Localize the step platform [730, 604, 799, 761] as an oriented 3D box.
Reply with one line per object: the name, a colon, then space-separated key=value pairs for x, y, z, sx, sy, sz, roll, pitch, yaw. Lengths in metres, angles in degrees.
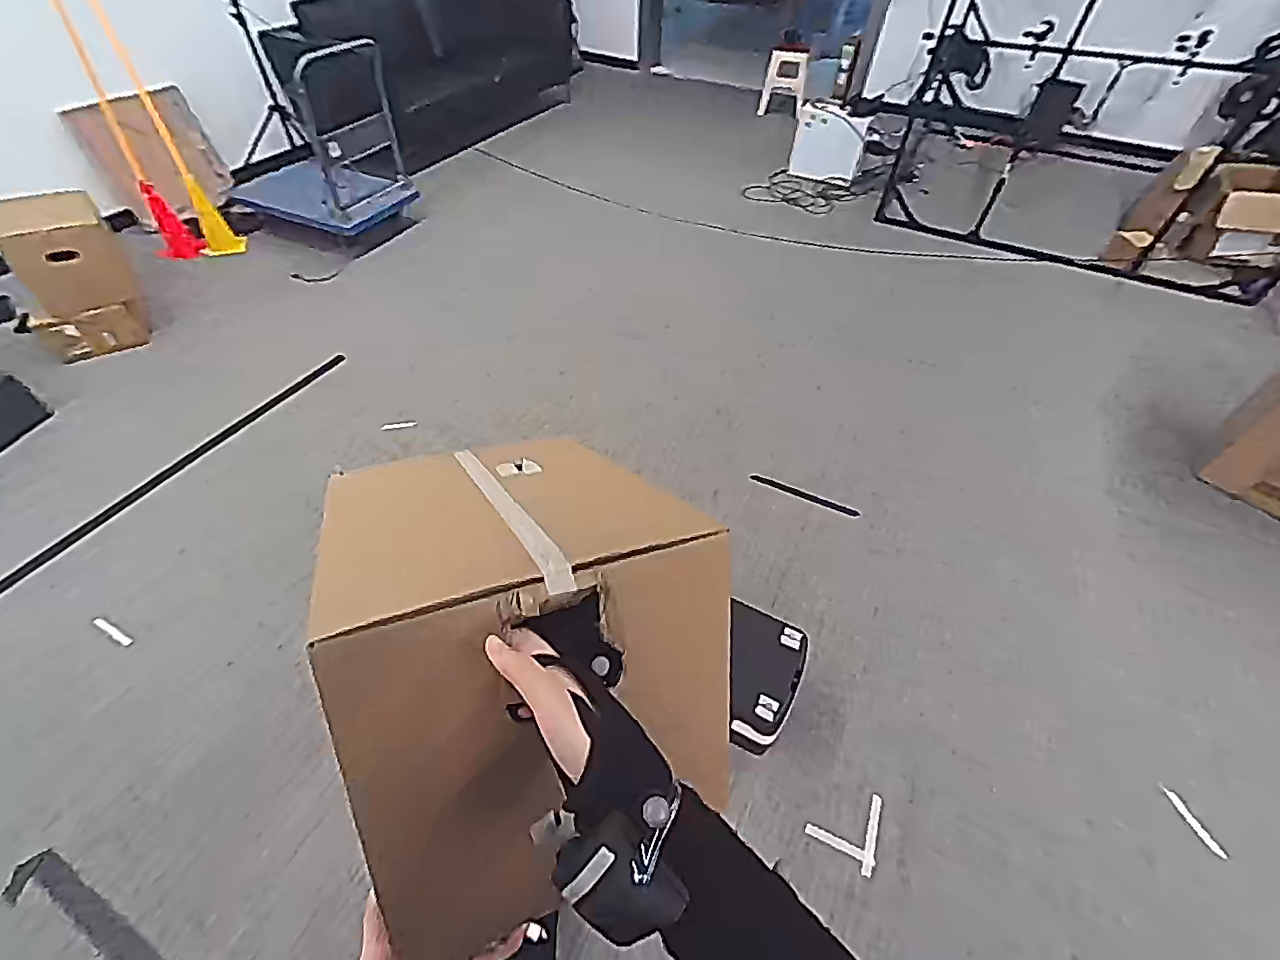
step platform: x=0.069 y=0.420 z=1.455 sx=0.684 sy=0.204 sz=0.286 roll=27 pitch=53 yaw=21

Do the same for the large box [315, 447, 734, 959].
large box: x=-0.138 y=0.169 z=0.596 sx=0.320 sy=0.320 sz=0.408 roll=-10 pitch=18 yaw=-25
